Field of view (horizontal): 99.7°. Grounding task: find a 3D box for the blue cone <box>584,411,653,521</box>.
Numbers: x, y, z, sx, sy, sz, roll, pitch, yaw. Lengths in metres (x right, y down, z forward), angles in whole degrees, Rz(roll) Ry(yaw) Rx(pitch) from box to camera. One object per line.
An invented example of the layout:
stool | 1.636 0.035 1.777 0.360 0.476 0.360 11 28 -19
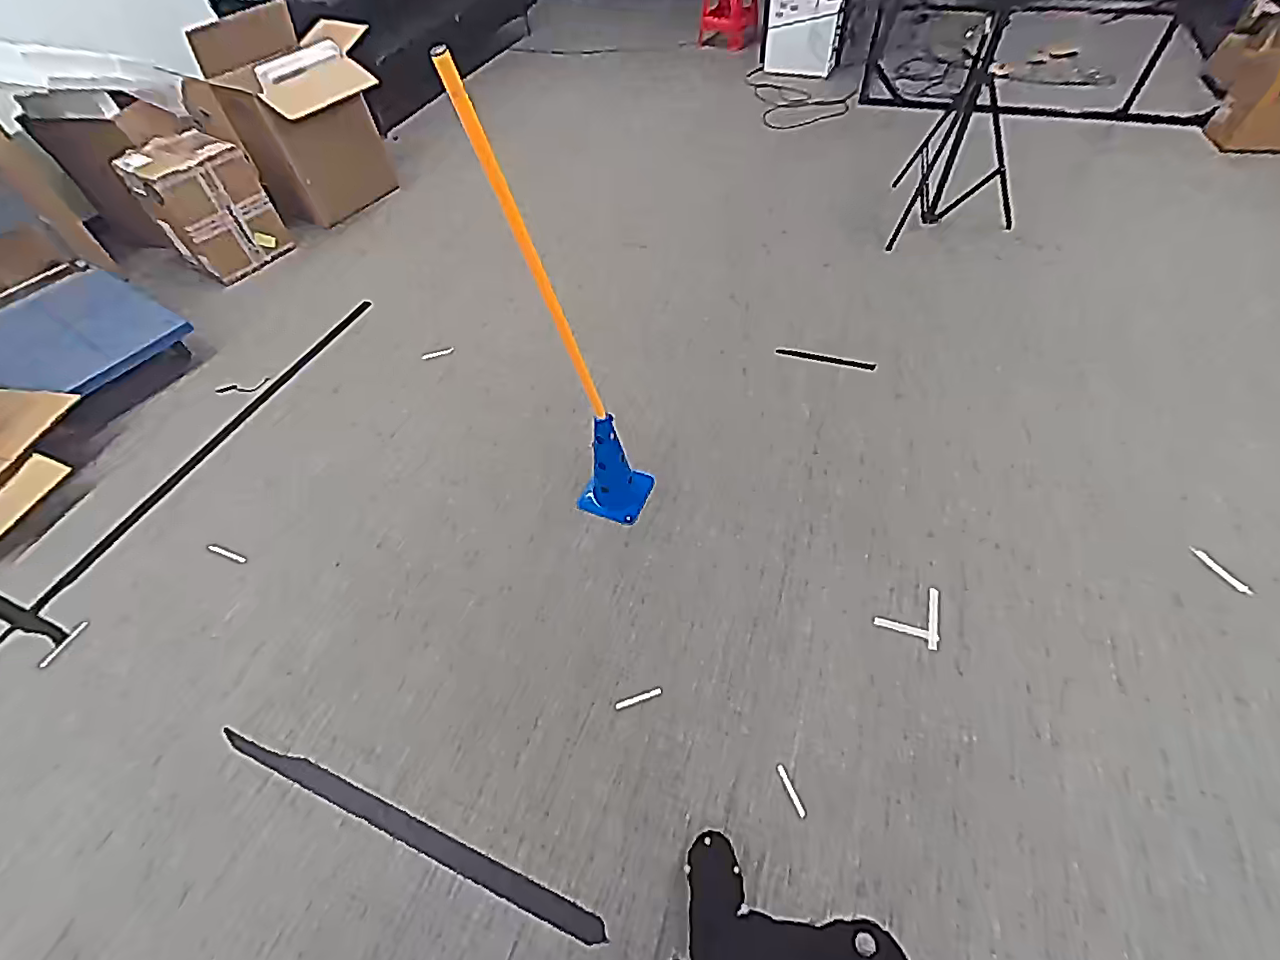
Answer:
blue cone | -0.079 -0.063 1.585 0.192 0.380 0.193 19 57 17
